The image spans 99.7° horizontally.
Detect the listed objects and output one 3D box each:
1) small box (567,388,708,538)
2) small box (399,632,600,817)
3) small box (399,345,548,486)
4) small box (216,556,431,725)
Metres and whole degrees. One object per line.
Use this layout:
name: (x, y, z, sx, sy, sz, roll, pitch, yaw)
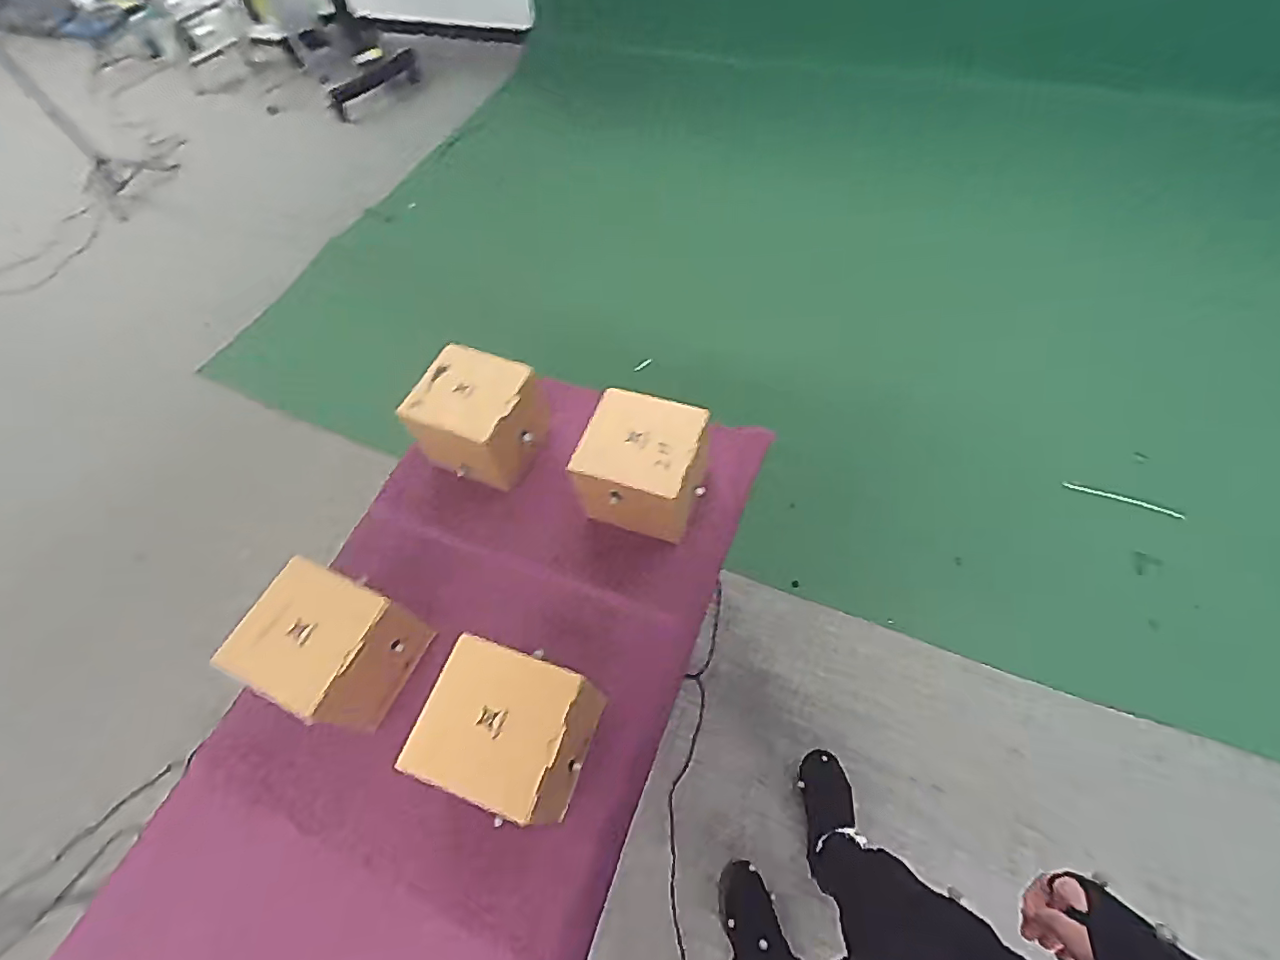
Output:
small box: (0.005, -0.023, 0.901, 0.179, 0.176, 0.168, 17, 64, 15)
small box: (-0.169, 0.326, 0.716, 0.179, 0.176, 0.168, 14, 62, 14)
small box: (-0.287, -0.109, 0.981, 0.179, 0.176, 0.168, 19, 63, 13)
small box: (-0.444, 0.241, 0.793, 0.179, 0.176, 0.168, 20, 63, 16)
